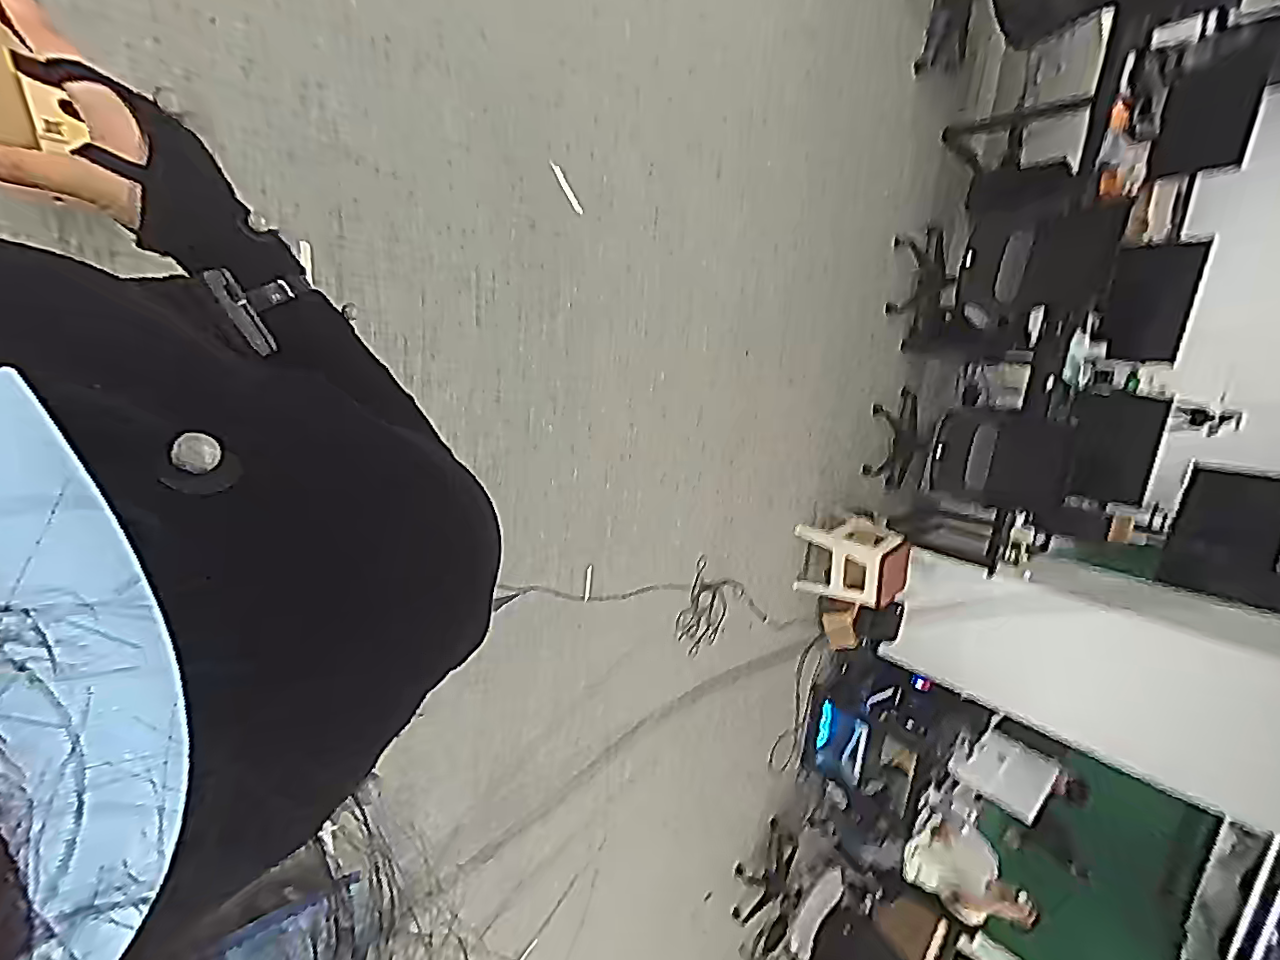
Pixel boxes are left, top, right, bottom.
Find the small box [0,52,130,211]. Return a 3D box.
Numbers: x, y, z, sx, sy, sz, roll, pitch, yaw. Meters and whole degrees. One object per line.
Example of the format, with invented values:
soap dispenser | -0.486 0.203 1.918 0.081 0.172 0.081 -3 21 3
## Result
small box | -0.985 -0.577 0.916 0.168 0.176 0.179 -6 107 -42
